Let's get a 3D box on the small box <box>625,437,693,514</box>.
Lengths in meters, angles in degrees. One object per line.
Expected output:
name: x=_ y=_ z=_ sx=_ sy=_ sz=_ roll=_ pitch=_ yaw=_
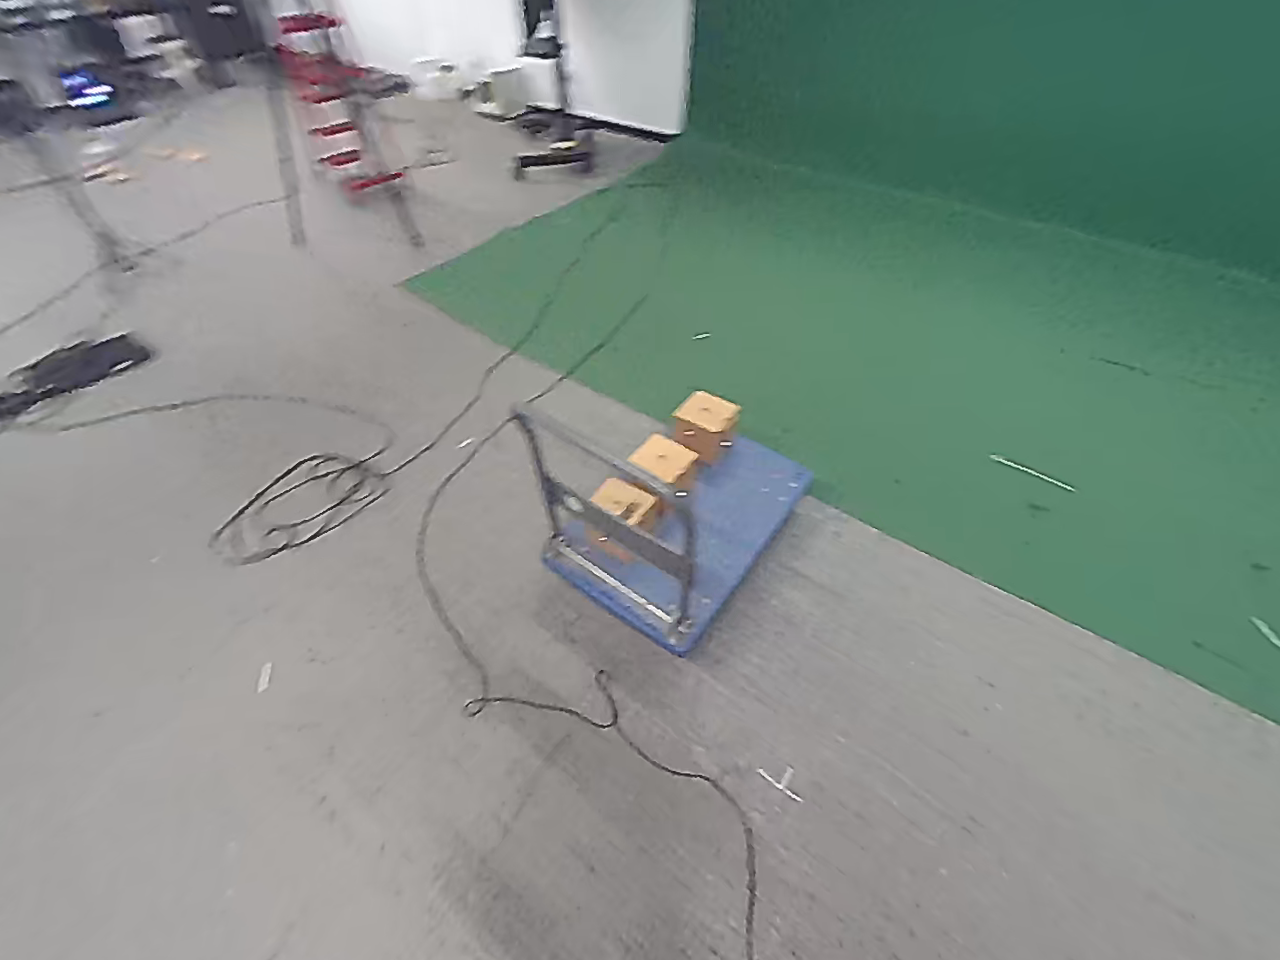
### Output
small box: x=0.062 y=-0.012 z=1.867 sx=0.179 sy=0.176 sz=0.168 roll=30 pitch=55 yaw=23

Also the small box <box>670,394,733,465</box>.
small box: x=0.225 y=-0.185 z=2.016 sx=0.179 sy=0.176 sz=0.168 roll=29 pitch=56 yaw=23
